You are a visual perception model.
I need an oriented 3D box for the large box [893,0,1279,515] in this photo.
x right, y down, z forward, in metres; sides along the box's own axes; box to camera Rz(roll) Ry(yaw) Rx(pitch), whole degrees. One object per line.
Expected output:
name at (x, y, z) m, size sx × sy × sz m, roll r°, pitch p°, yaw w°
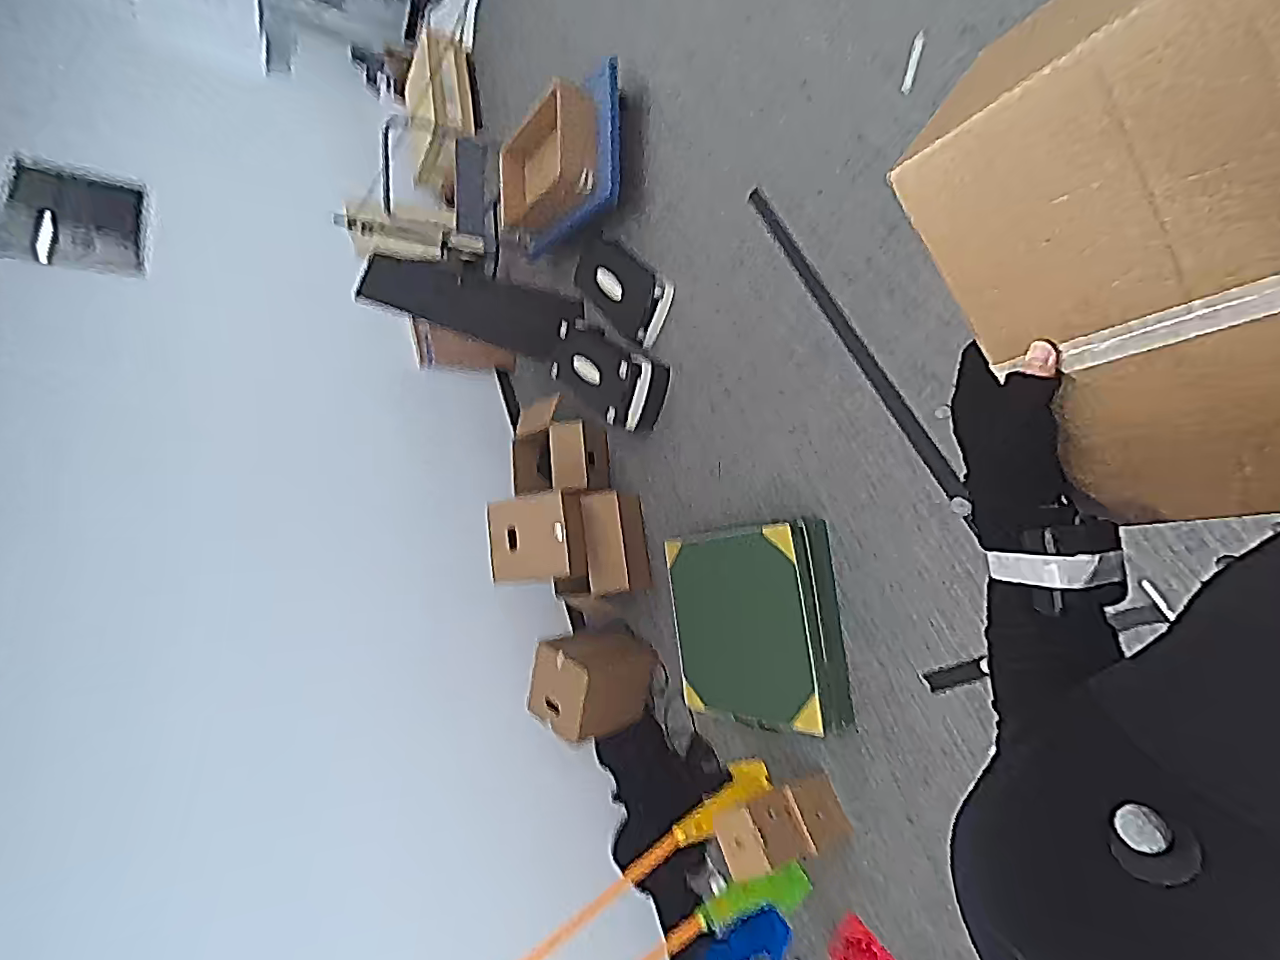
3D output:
large box at (0.449, -0.219, 0.322) m, size 0.320 × 0.320 × 0.408 m, roll 49°, pitch 146°, yaw -17°
